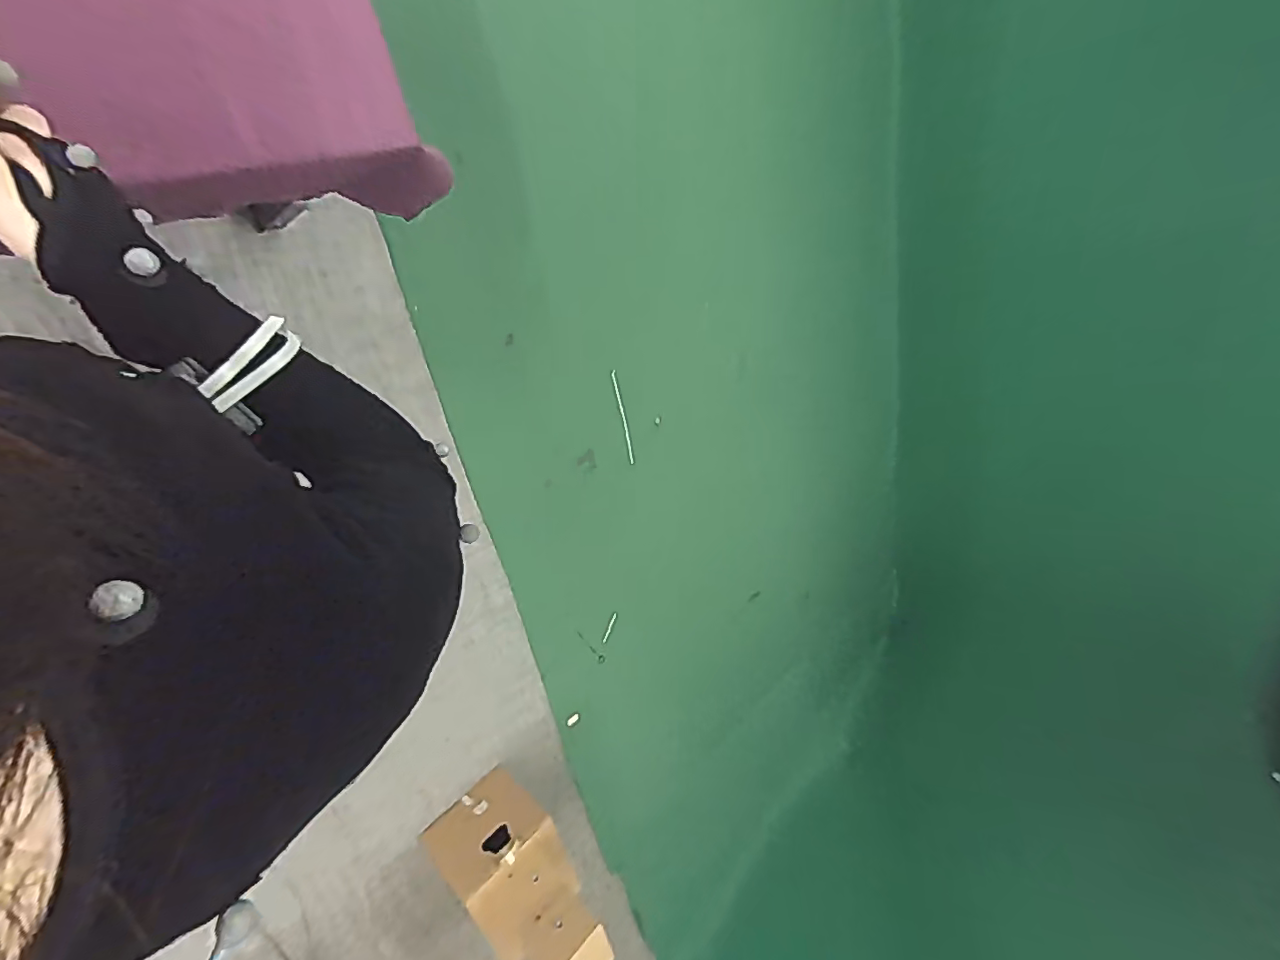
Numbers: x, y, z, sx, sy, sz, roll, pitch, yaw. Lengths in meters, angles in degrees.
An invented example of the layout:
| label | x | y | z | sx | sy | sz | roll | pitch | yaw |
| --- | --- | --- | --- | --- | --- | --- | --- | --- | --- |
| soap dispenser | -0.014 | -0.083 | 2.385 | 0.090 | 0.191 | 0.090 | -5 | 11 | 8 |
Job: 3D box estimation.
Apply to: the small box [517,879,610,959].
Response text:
| label | x | y | z | sx | sy | sz | roll | pitch | yaw |
| --- | --- | --- | --- | --- | --- | --- | --- | --- | --- |
| small box | -0.212 | 1.245 | 1.477 | 0.168 | 0.176 | 0.179 | -30 | 121 | -36 |

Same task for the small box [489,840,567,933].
| label | x | y | z | sx | sy | sz | roll | pitch | yaw |
| --- | --- | --- | --- | --- | --- | --- | --- | --- | --- |
| small box | -0.321 | 1.216 | 1.598 | 0.168 | 0.176 | 0.179 | -30 | 121 | -36 |

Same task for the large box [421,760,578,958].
| label | x | y | z | sx | sy | sz | roll | pitch | yaw |
| --- | --- | --- | --- | --- | --- | --- | --- | --- | --- |
| large box | -0.465 | 1.247 | 1.811 | 0.320 | 0.320 | 0.408 | -33 | 122 | -35 |
